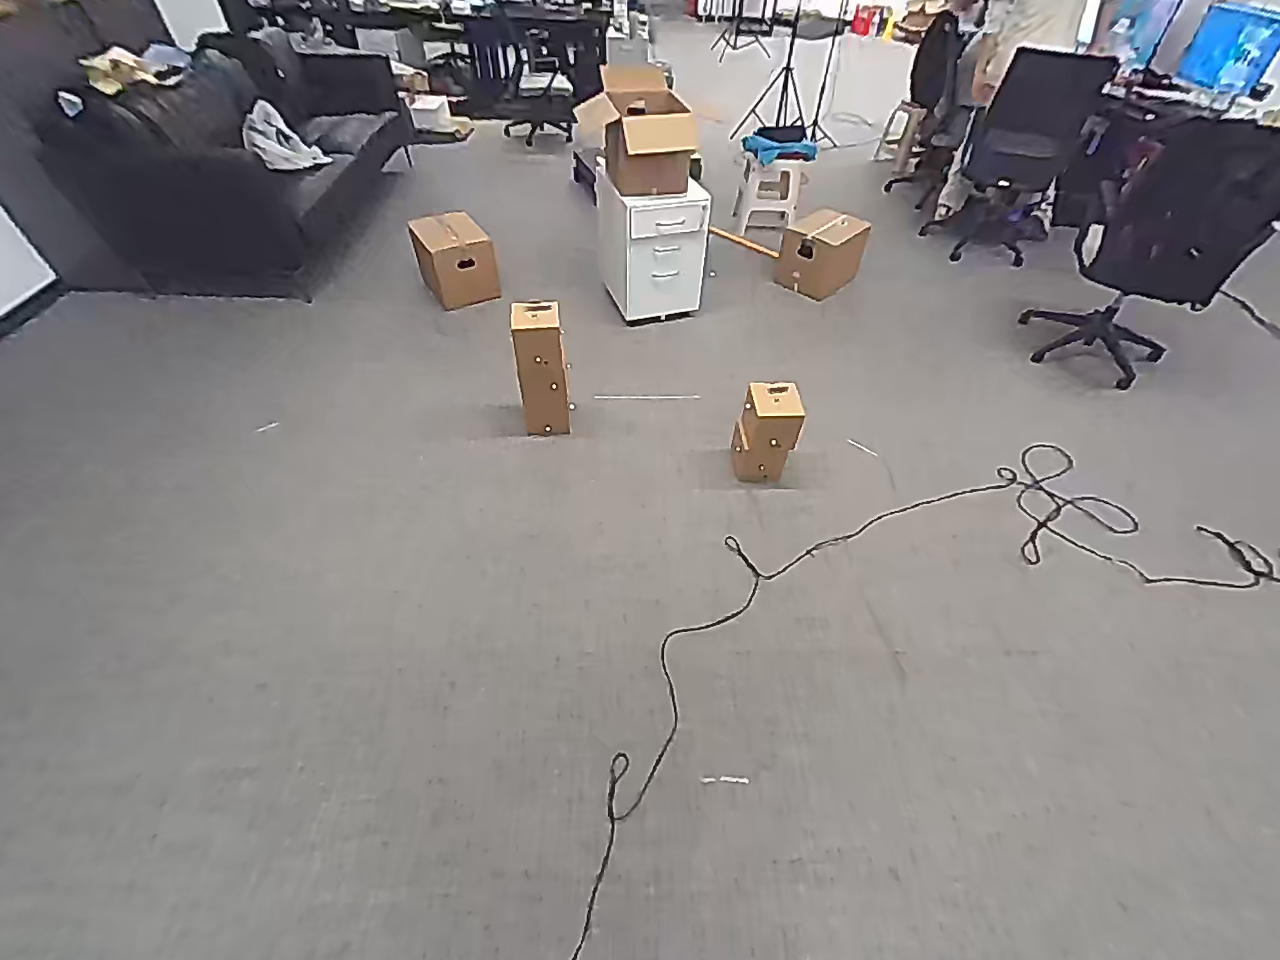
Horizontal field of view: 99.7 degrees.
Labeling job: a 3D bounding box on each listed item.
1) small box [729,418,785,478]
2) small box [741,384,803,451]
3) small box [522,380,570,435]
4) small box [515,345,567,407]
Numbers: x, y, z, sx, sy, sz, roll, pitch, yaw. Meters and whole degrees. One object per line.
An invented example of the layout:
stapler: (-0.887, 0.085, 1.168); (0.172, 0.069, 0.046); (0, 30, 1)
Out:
small box: (0.442, -0.118, 2.050); (0.168, 0.176, 0.179); (-1, 48, -3)
small box: (0.462, -0.224, 1.925); (0.168, 0.176, 0.179); (-1, 49, -2)
small box: (-0.378, -0.295, 2.204); (0.179, 0.176, 0.168); (-1, 47, -3)
small box: (-0.374, -0.398, 2.077); (0.179, 0.176, 0.168); (-4, 46, -3)
